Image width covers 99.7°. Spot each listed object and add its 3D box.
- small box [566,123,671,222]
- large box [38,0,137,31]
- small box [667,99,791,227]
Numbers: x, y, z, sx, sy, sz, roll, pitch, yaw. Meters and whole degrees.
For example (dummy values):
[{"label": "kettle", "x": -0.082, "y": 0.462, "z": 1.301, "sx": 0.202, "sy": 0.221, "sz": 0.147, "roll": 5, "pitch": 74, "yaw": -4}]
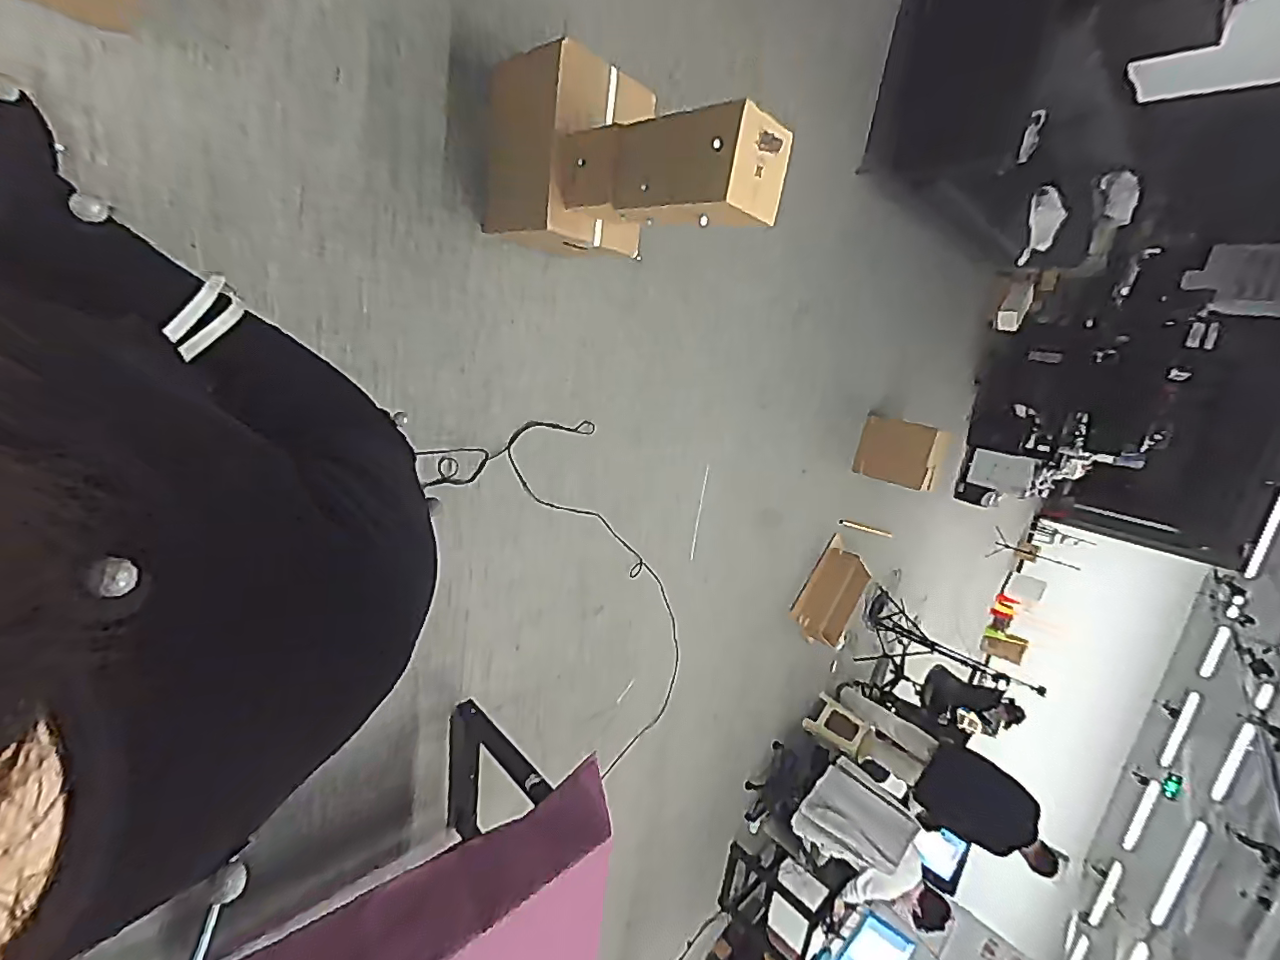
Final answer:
[{"label": "small box", "x": -0.054, "y": -0.732, "z": 1.307, "sx": 0.179, "sy": 0.176, "sz": 0.168, "roll": -8, "pitch": 112, "yaw": -43}, {"label": "large box", "x": -0.893, "y": -0.932, "z": 0.711, "sx": 0.320, "sy": 0.320, "sz": 0.408, "roll": -6, "pitch": 110, "yaw": -45}, {"label": "small box", "x": 0.175, "y": -0.628, "z": 1.094, "sx": 0.168, "sy": 0.176, "sz": 0.179, "roll": -4, "pitch": 111, "yaw": -44}]
